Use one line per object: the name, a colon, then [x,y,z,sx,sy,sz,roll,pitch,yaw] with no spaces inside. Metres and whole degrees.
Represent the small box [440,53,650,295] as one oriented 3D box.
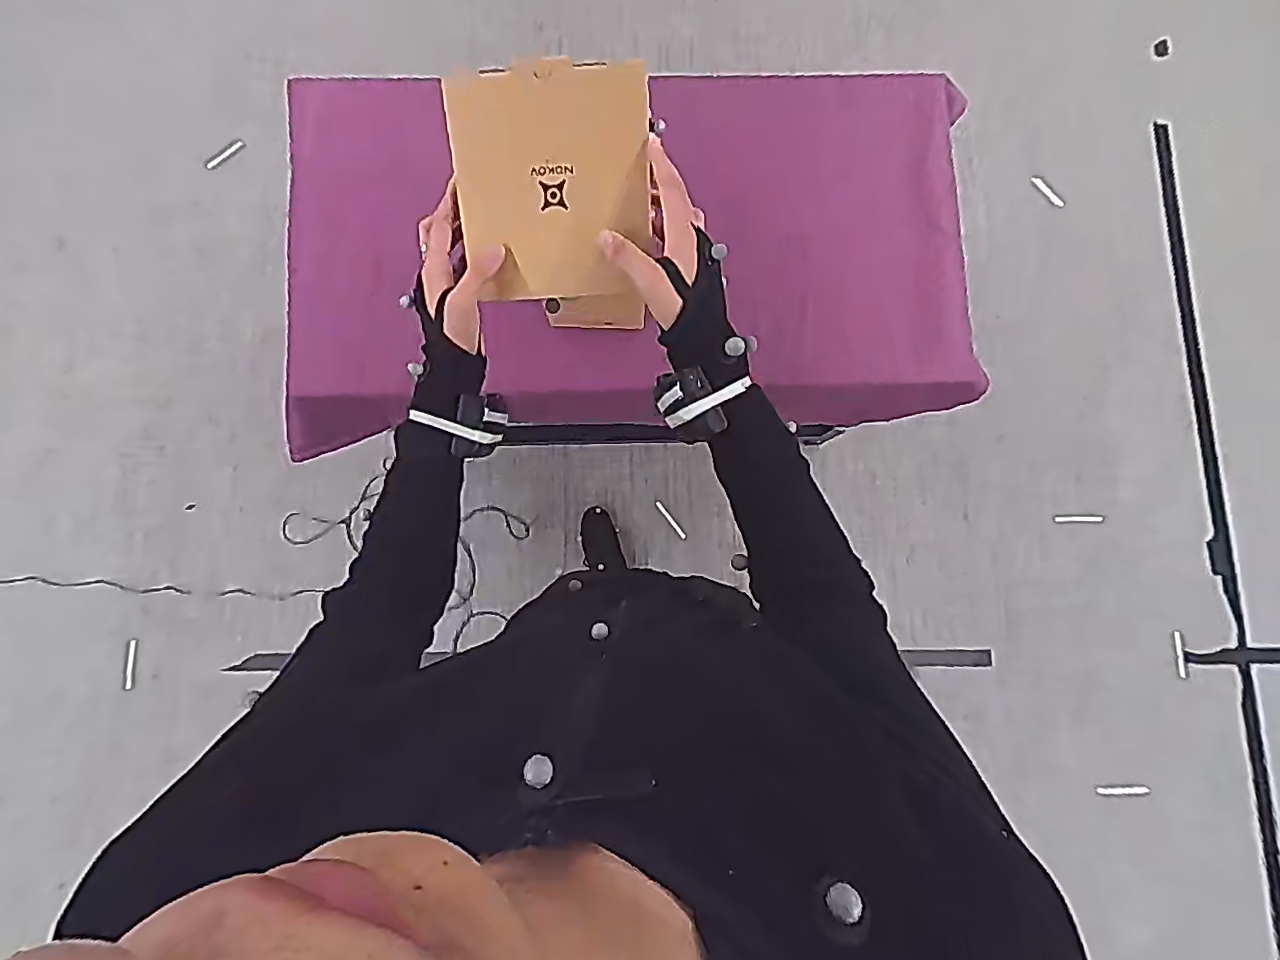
small box: [-0.074,-0.276,0.528,0.168,0.176,0.179,-2,108,1]
